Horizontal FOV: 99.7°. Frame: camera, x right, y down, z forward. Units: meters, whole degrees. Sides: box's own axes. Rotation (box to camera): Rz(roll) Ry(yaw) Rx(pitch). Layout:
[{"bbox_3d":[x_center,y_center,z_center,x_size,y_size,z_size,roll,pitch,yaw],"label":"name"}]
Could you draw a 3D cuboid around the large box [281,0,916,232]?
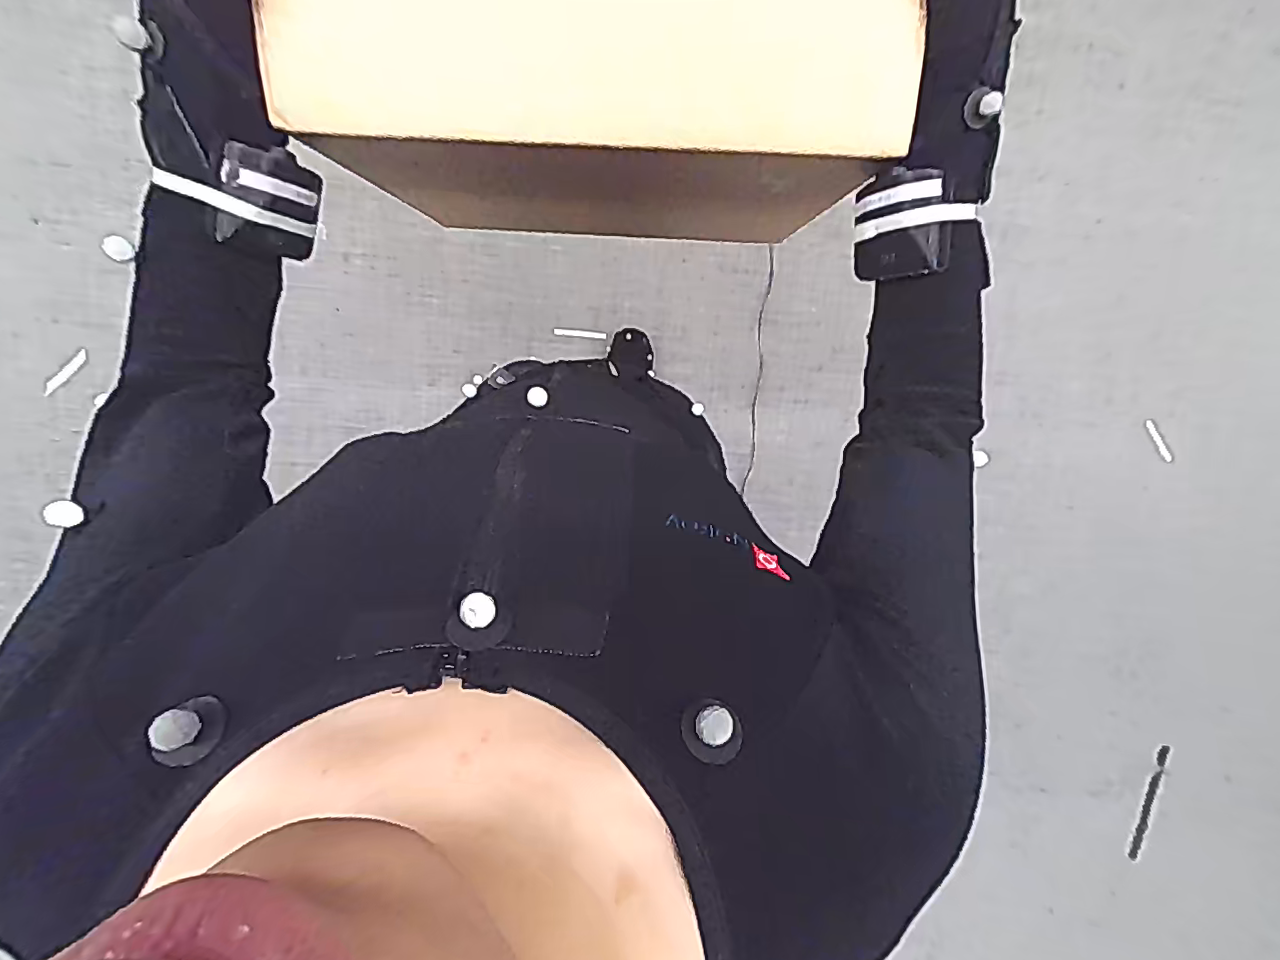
[{"bbox_3d":[-0.025,-0.411,0.463,0.408,0.320,0.320,2,104,-1],"label":"large box"}]
